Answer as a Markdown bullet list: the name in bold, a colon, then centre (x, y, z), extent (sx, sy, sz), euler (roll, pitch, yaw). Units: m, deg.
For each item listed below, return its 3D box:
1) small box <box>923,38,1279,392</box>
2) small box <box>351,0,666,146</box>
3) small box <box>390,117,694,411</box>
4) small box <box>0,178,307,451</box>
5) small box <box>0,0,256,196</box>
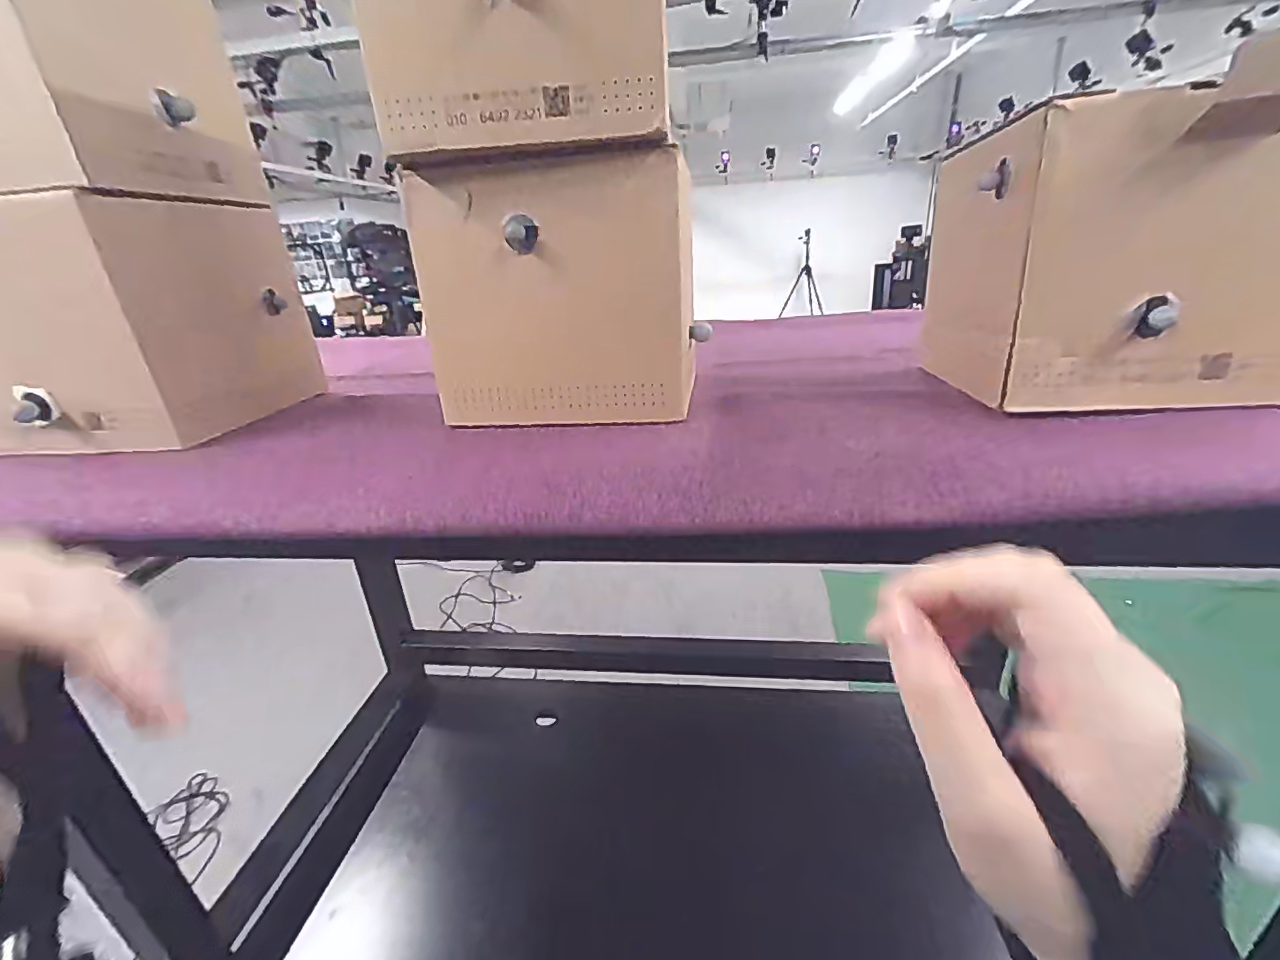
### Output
- **small box**: centre (0.304, -0.157, 0.358), extent (0.168, 0.176, 0.179), euler (-1, 21, 11)
- **small box**: centre (-0.070, -0.299, 0.344), extent (0.168, 0.176, 0.179), euler (-2, 23, 4)
- **small box**: centre (-0.052, -0.152, 0.415), extent (0.179, 0.176, 0.168), euler (0, 22, 8)
- **small box**: centre (-0.402, -0.130, 0.429), extent (0.168, 0.176, 0.179), euler (-3, 24, 5)
- **small box**: centre (-0.419, -0.282, 0.367), extent (0.179, 0.176, 0.168), euler (-4, 24, 4)
